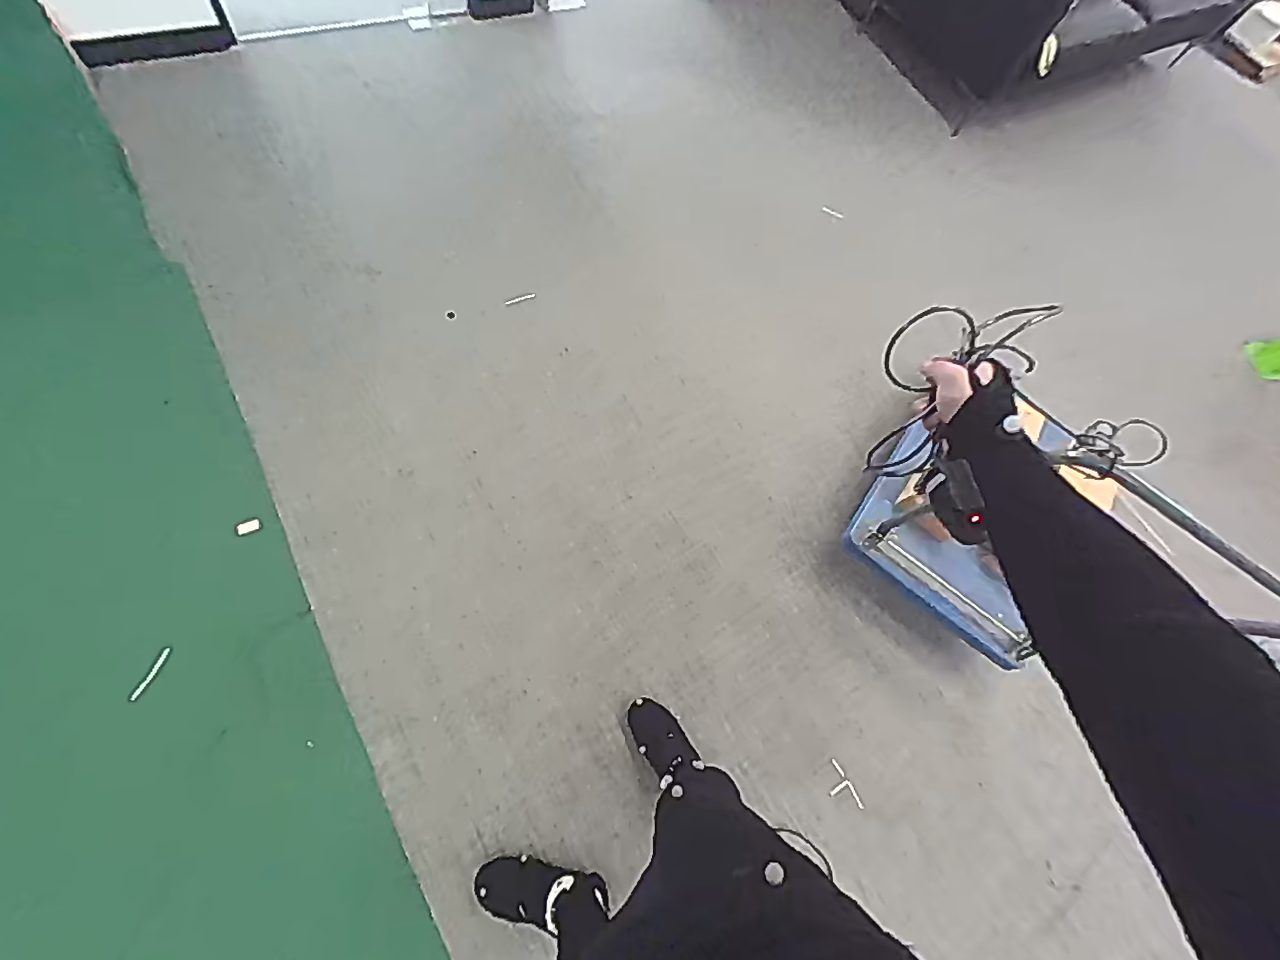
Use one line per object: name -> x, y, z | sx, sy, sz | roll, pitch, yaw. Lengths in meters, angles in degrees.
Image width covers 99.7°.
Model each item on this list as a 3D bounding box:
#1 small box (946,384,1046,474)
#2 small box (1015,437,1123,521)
small box -> 1.058, -0.147, 1.621 | 0.168, 0.176, 0.179 | 36, 66, 4
small box -> 1.256, 0.013, 1.594 | 0.168, 0.176, 0.179 | 37, 67, 6
